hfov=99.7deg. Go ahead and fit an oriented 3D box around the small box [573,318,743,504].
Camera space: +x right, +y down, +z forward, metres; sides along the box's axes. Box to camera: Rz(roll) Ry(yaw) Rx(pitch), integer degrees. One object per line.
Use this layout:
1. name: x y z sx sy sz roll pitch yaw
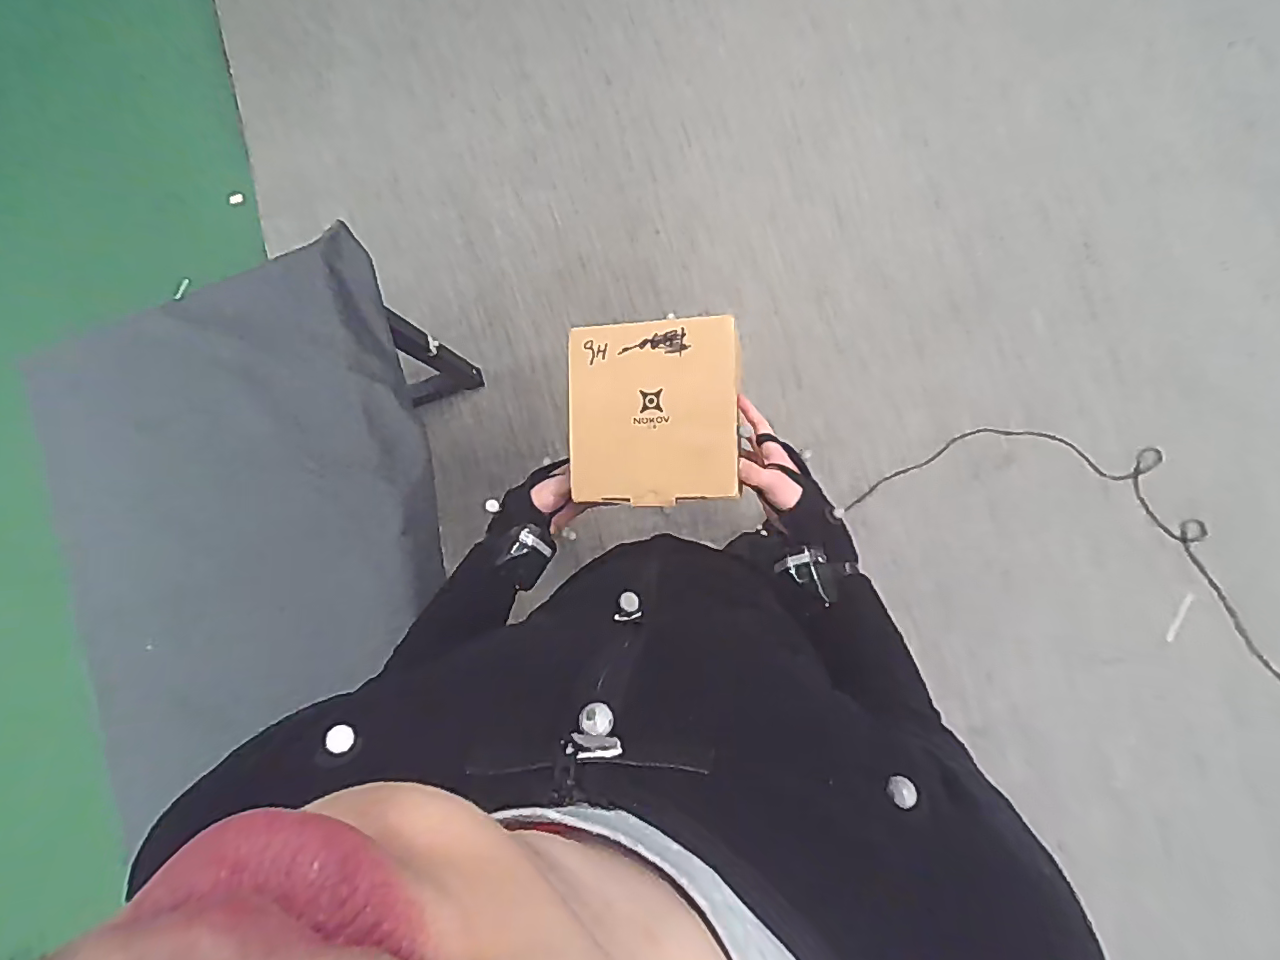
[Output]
1. small box: 0.029 -0.064 0.597 0.168 0.176 0.179 -1 89 10
